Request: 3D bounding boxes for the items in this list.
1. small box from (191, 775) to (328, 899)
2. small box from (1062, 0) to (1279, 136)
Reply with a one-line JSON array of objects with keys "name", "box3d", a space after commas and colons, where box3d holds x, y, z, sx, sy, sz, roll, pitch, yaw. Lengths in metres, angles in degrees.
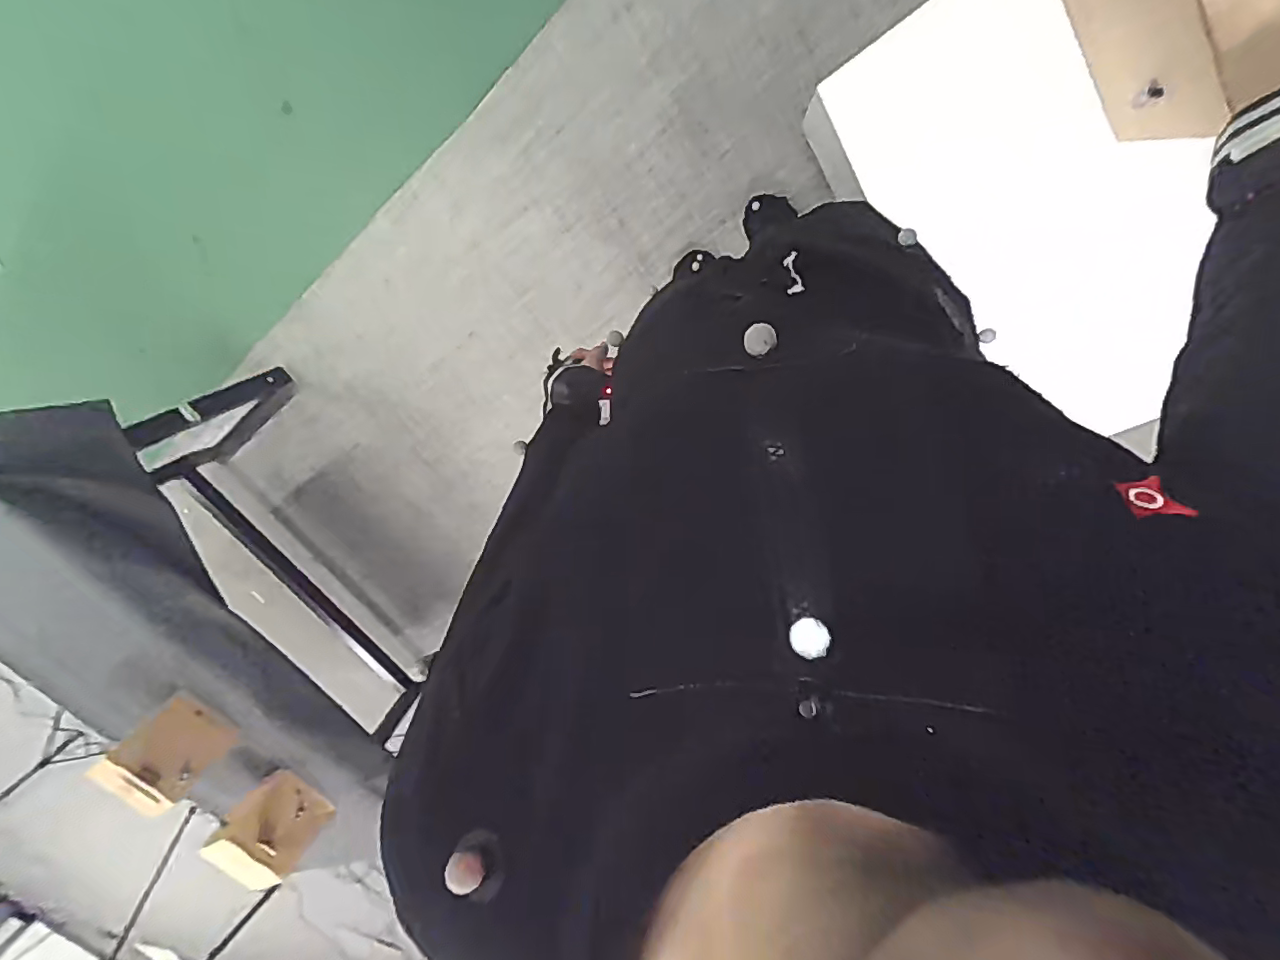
[{"name": "small box", "box3d": [-0.870, 0.822, 1.250, 0.179, 0.176, 0.168, -33, 105, 27]}, {"name": "small box", "box3d": [0.444, -0.380, 0.383, 0.168, 0.176, 0.179, -31, 107, 27]}]
